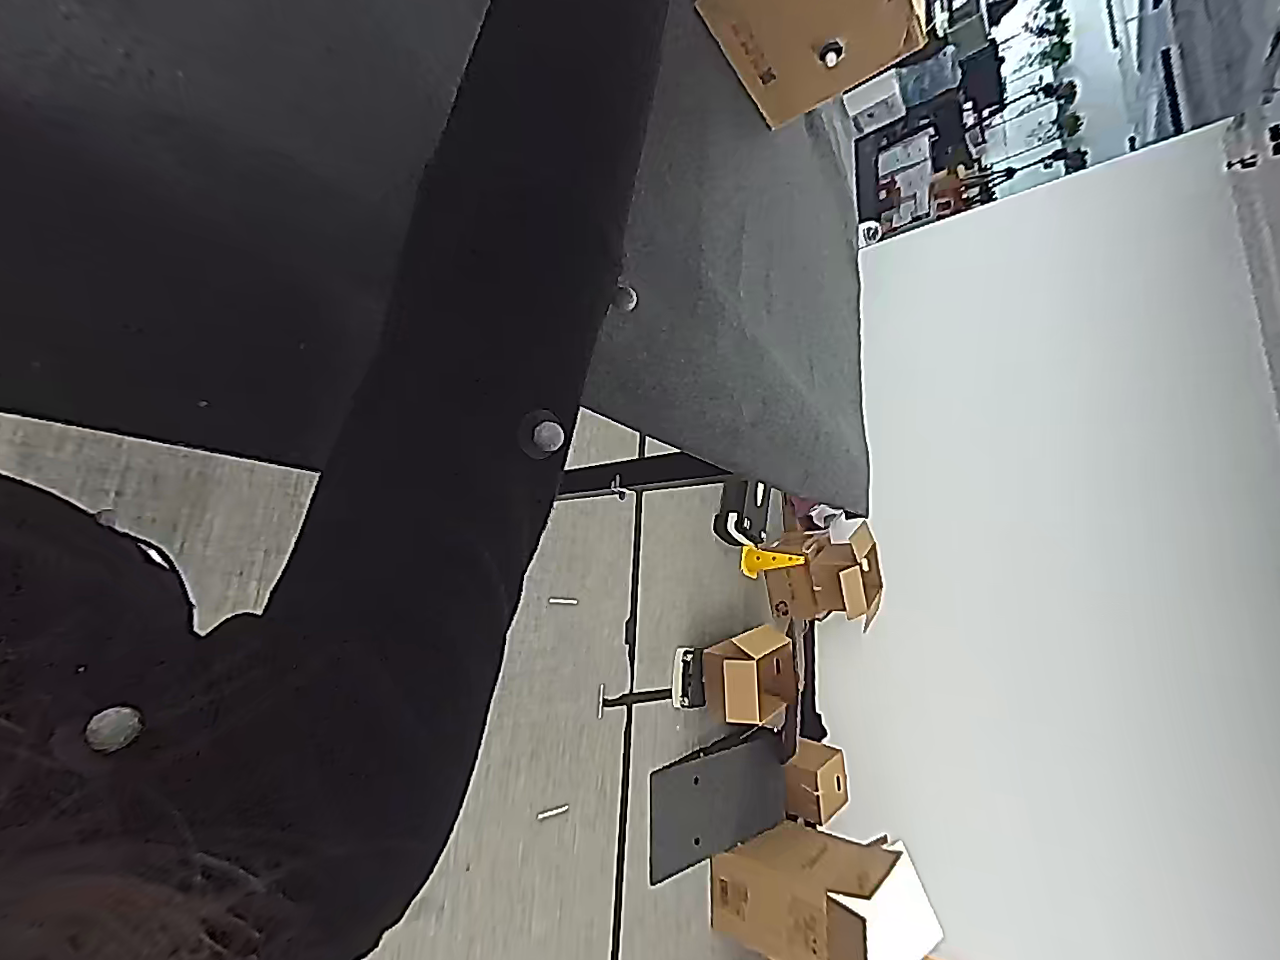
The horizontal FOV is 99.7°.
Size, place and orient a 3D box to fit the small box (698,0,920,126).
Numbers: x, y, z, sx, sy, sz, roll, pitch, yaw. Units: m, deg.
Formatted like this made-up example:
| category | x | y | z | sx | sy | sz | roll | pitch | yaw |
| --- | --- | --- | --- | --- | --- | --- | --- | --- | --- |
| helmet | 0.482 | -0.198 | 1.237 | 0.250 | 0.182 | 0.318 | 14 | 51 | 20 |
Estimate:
| category | x | y | z | sx | sy | sz | roll | pitch | yaw |
| --- | --- | --- | --- | --- | --- | --- | --- | --- | --- |
| small box | 0.167 | -0.511 | 0.543 | 0.168 | 0.176 | 0.179 | 24 | 66 | -47 |
